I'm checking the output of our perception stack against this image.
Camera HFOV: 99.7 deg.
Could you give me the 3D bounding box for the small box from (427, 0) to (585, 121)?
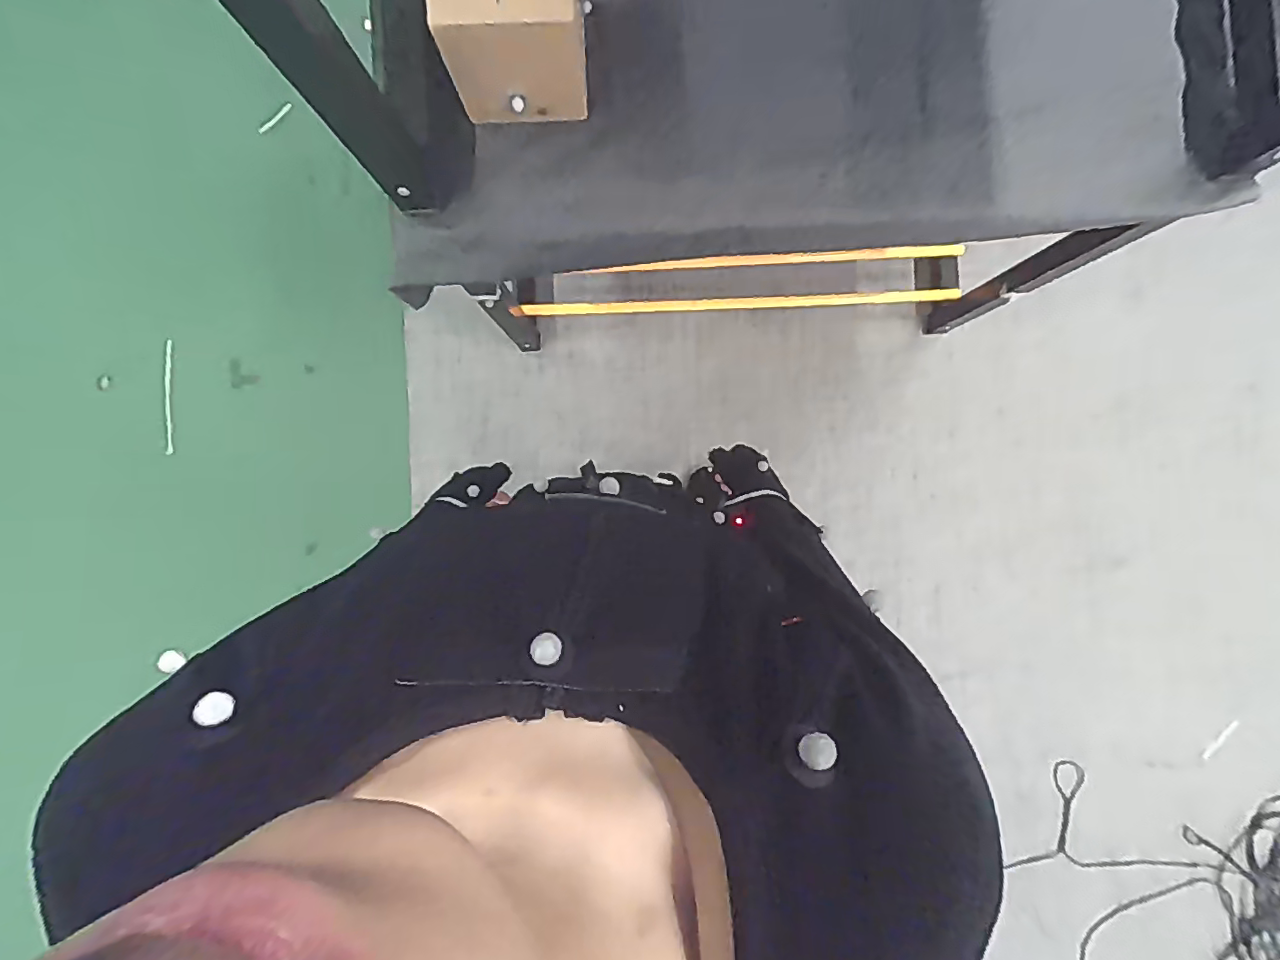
[{"bbox_3d":[-0.160,-0.596,0.684,0.168,0.176,0.179,-3,90,-1],"label":"small box"}]
